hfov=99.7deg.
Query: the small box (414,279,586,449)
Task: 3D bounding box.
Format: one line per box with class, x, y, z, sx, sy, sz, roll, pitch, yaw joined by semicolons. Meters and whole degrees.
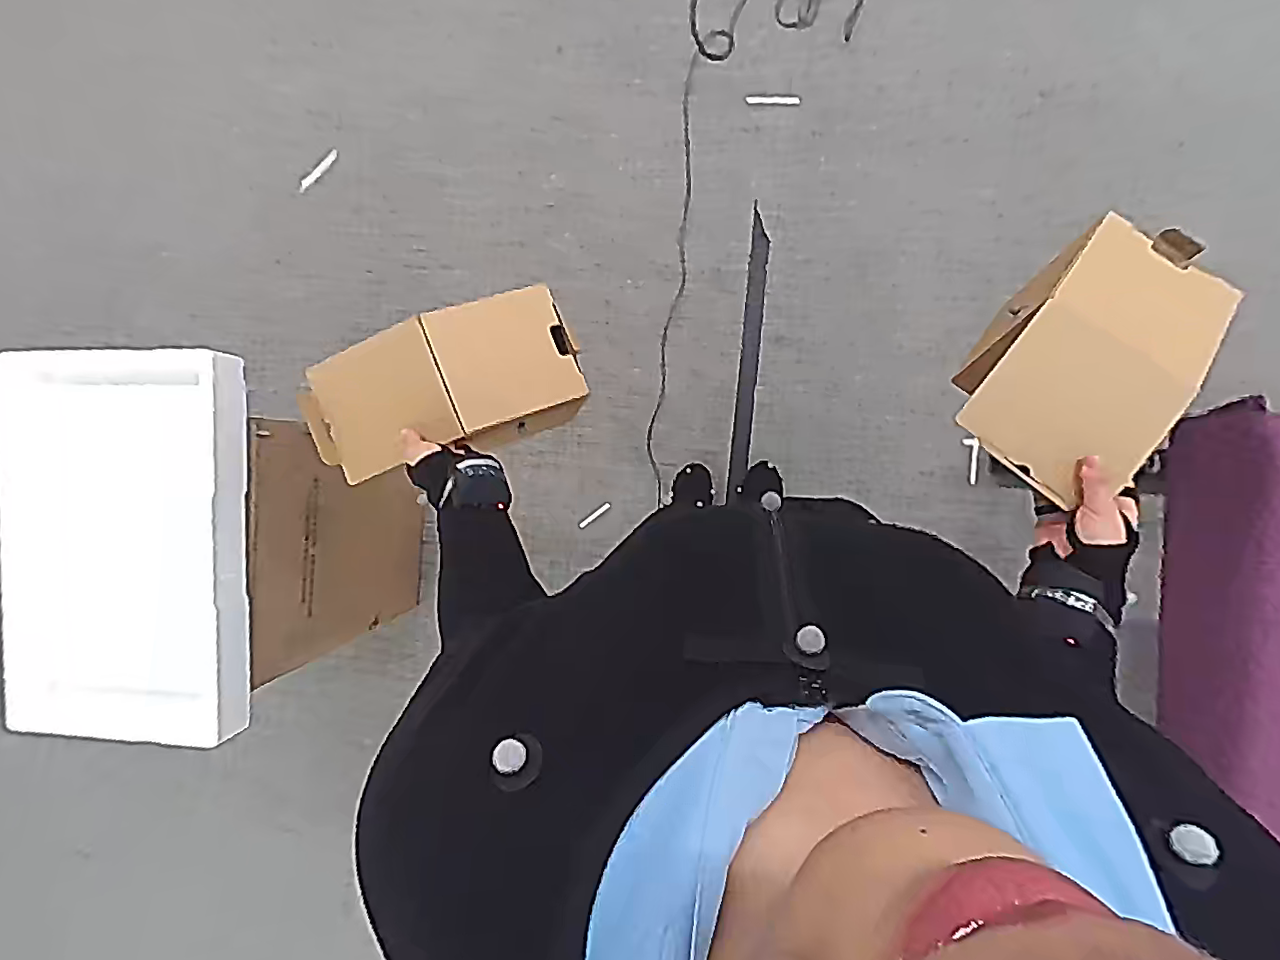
small box;-0.197;-0.154;0.767;0.179;0.176;0.168;-21;90;-18
